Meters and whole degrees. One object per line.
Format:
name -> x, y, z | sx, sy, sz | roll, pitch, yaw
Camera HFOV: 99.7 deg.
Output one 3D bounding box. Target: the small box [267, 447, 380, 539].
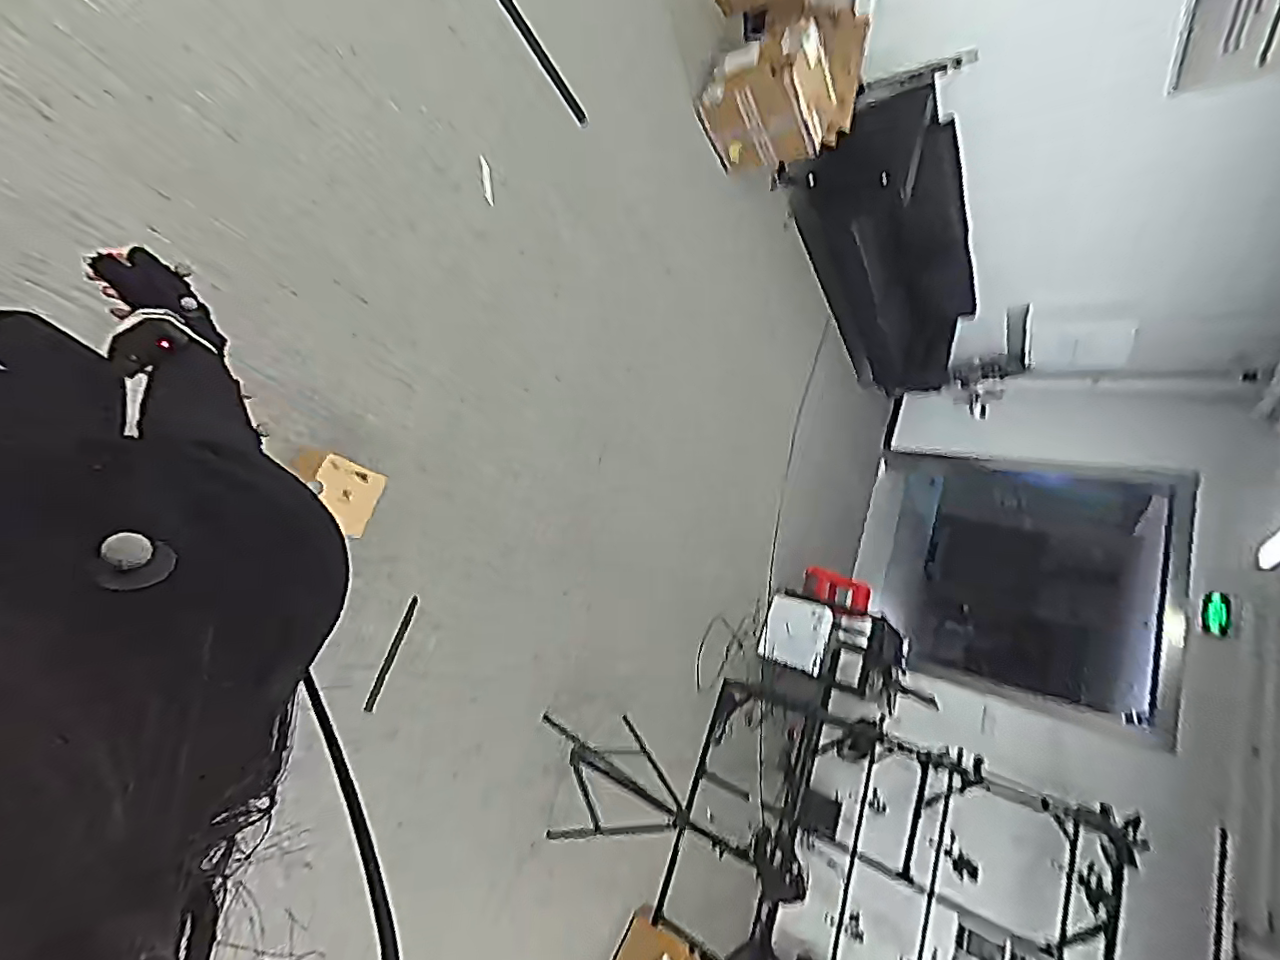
small box -> -0.813, 0.030, 1.380 | 0.168, 0.176, 0.179 | 38, 67, -50
